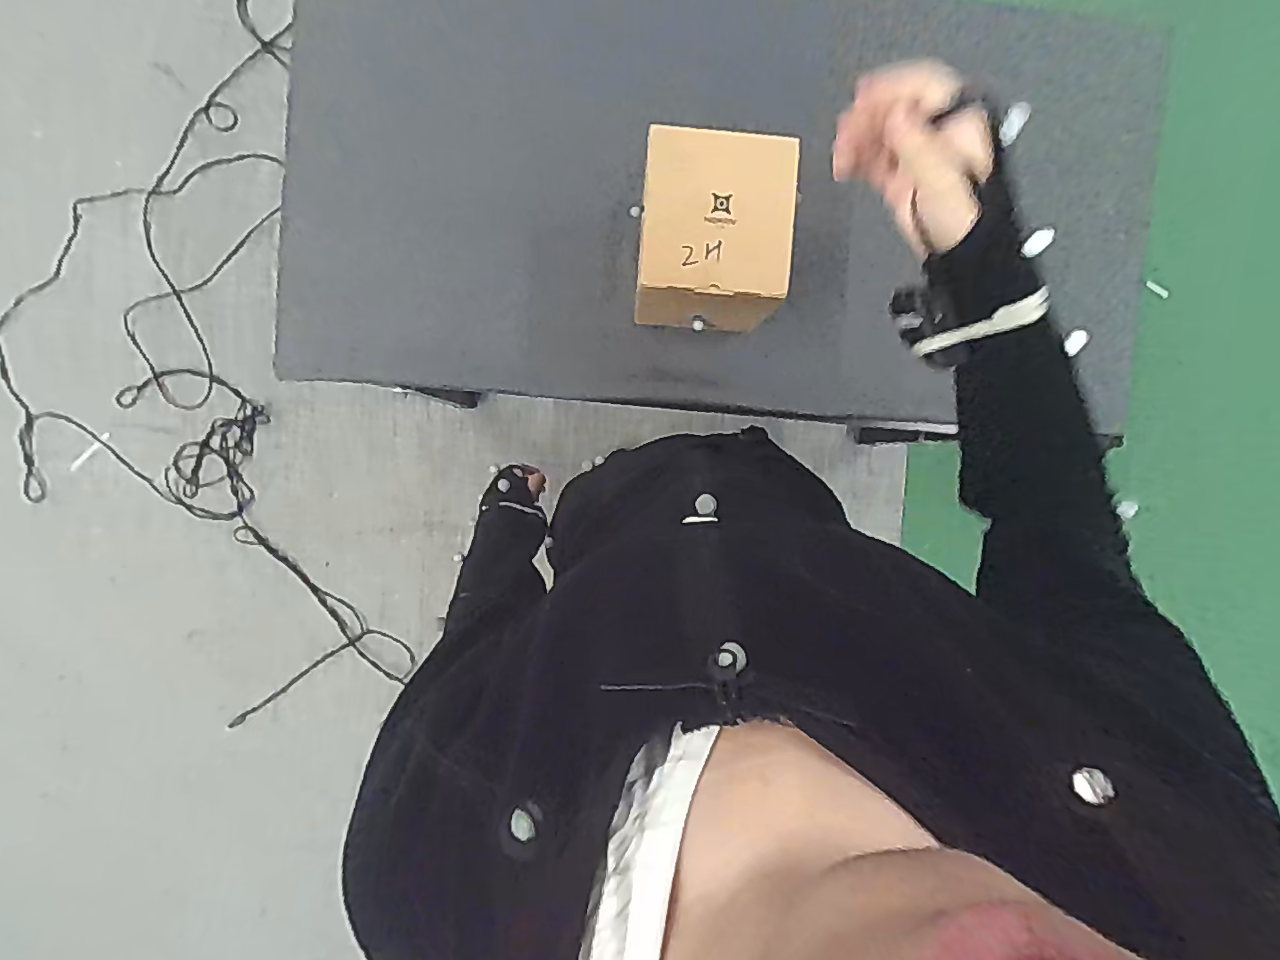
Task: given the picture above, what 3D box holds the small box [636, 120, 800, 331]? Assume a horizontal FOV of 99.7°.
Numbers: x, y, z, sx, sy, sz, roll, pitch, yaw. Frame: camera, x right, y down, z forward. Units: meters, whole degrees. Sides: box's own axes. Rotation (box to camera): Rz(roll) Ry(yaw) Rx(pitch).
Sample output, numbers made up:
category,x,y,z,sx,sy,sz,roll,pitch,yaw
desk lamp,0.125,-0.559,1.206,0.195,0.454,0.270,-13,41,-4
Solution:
category,x,y,z,sx,sy,sz,roll,pitch,yaw
small box,0.083,-0.296,0.663,0.168,0.176,0.179,4,92,-2
